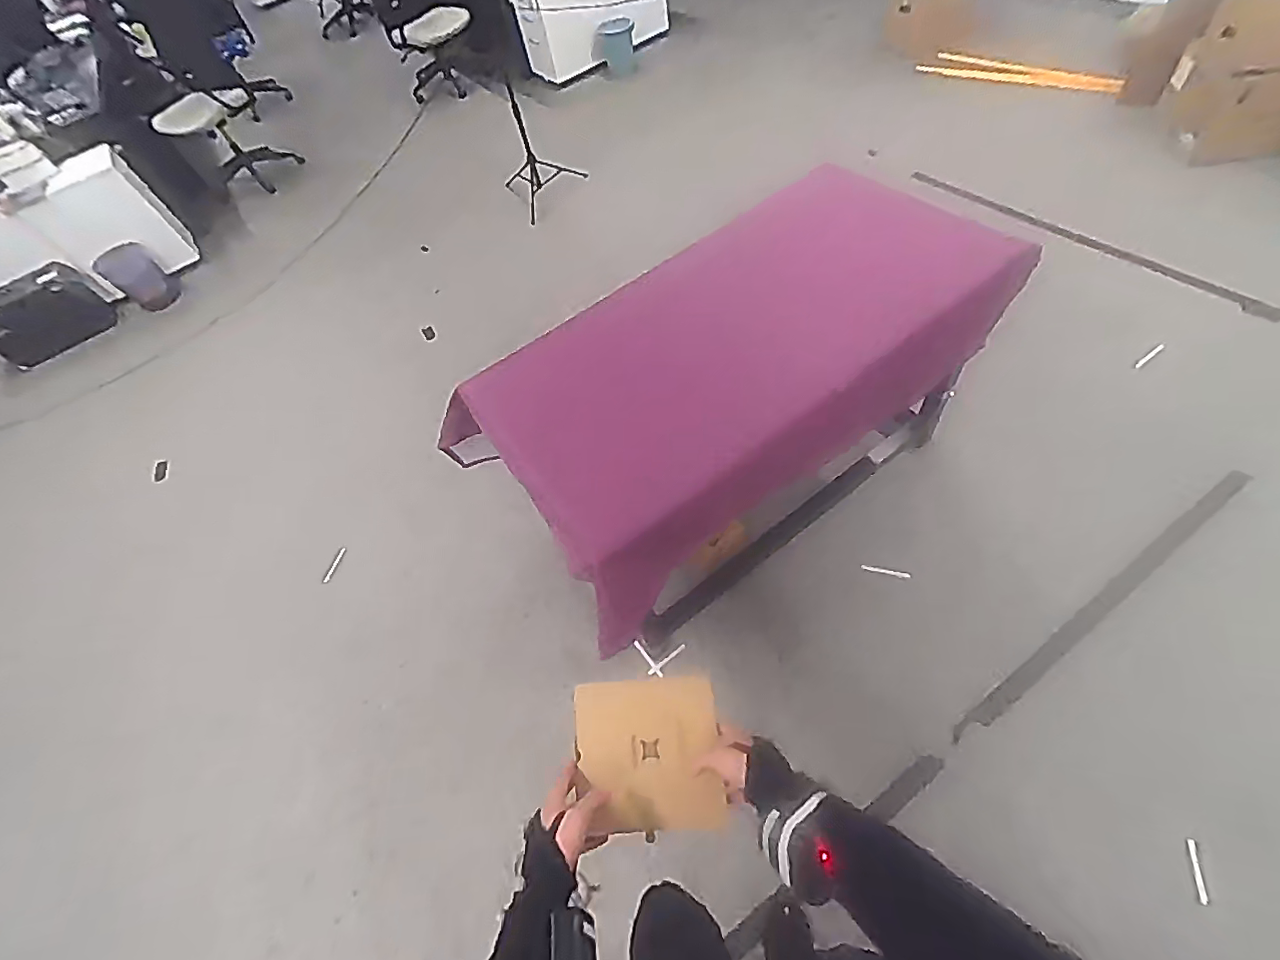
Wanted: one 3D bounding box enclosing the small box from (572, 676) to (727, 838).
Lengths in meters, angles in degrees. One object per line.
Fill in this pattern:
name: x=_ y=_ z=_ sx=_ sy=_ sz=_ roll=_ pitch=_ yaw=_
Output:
small box: x=0.011 y=0.361 z=0.706 sx=0.179 sy=0.176 sz=0.168 roll=-5 pitch=61 yaw=1
